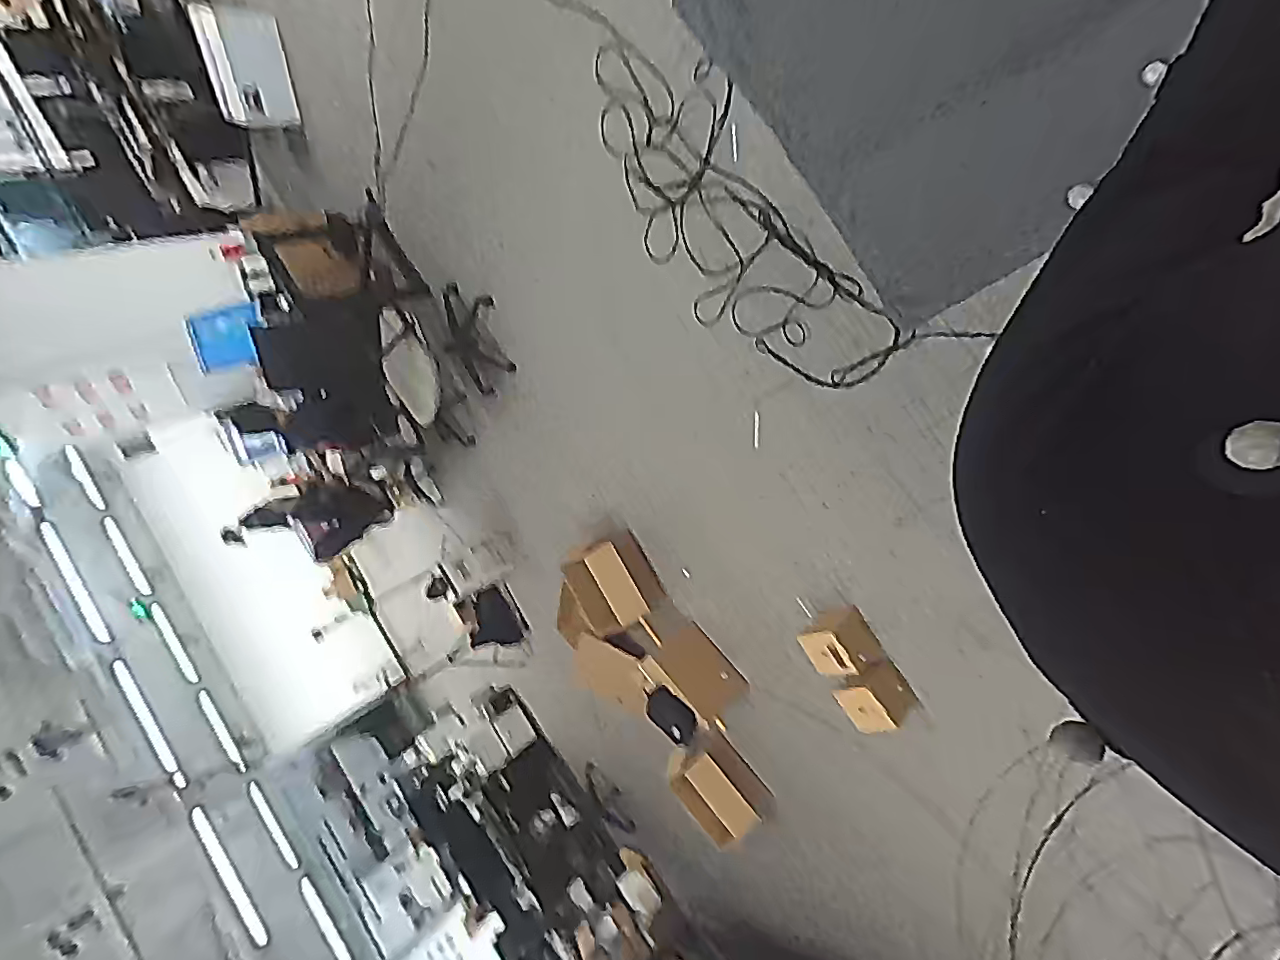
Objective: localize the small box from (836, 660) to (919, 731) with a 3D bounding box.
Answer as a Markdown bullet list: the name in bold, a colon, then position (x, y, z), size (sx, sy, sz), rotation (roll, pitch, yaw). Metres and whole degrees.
- **small box**: position (0.842, 0.762, 1.913), size (0.168, 0.176, 0.179), rotation (54, 144, 7)
